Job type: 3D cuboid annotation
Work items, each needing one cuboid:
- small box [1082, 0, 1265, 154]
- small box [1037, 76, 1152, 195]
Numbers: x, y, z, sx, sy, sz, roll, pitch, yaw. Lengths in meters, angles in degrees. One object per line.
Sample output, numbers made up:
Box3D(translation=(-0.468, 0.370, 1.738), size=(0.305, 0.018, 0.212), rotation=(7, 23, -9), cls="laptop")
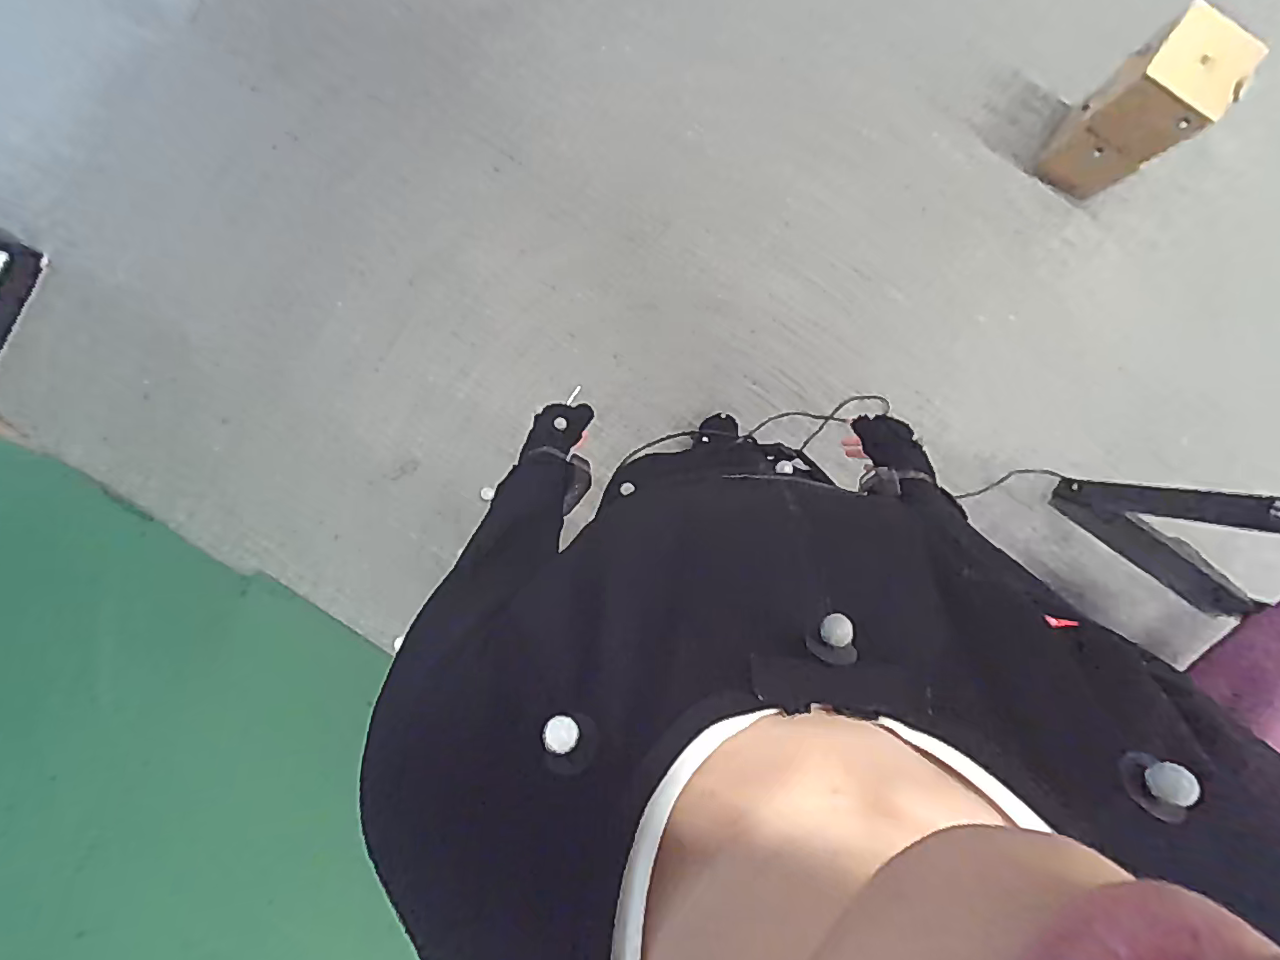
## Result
Box3D(translation=(1.092, -0.826, 1.126), size=(0.179, 0.176, 0.168), rotation=(33, 95, -1), cls="small box")
Box3D(translation=(1.107, -0.830, 1.289), size=(0.168, 0.176, 0.179), rotation=(33, 94, -1), cls="small box")
